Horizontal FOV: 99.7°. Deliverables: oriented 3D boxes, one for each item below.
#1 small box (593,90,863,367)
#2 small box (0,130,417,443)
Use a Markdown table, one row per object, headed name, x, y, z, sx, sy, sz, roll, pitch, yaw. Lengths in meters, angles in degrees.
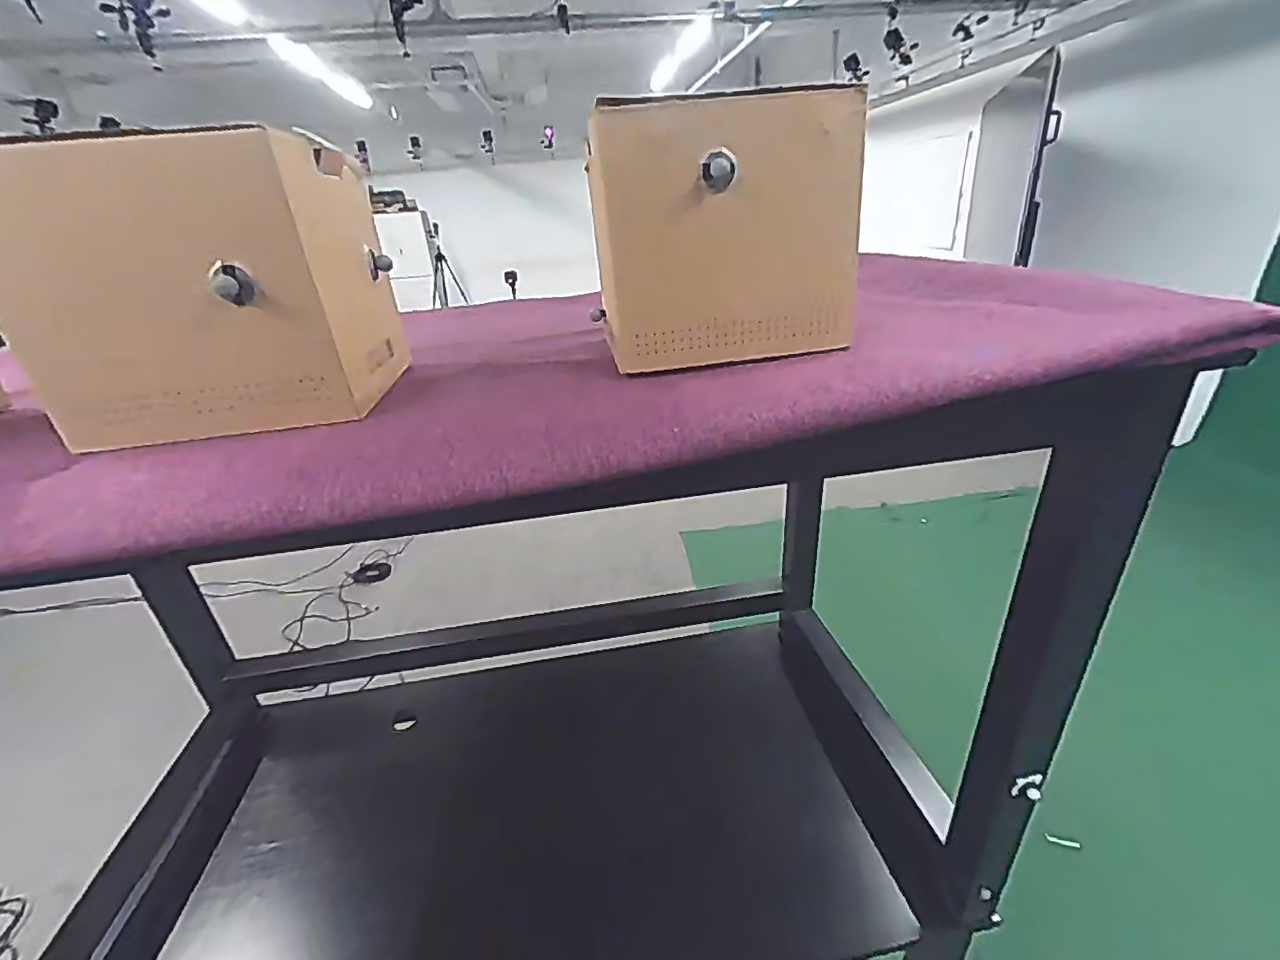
| name | x | y | z | sx | sy | sz | roll | pitch | yaw |
| --- | --- | --- | --- | --- | --- | --- | --- | --- | --- |
| small box | 0.060 | -0.194 | 0.447 | 0.179 | 0.176 | 0.168 | -7 | 23 | -5 |
| small box | -0.280 | -0.138 | 0.391 | 0.179 | 0.176 | 0.168 | -8 | 25 | -7 |
